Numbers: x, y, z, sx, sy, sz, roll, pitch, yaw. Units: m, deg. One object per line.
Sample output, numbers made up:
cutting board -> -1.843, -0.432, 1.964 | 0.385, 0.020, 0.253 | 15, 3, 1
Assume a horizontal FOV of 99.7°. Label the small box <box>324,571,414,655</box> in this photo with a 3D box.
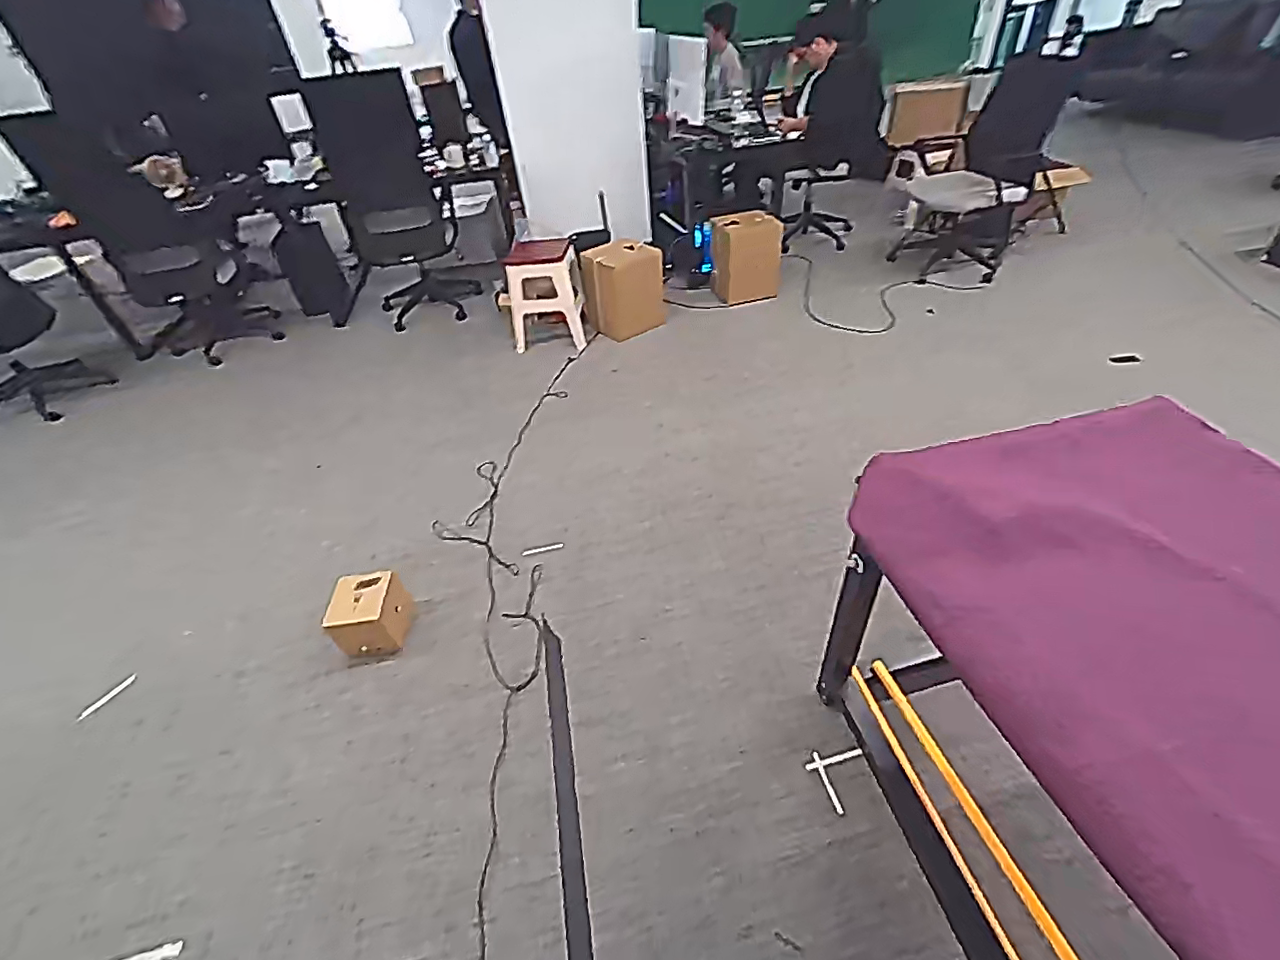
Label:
small box -> -0.801, 0.399, 1.622 | 0.168, 0.176, 0.179 | -8, 43, 0
